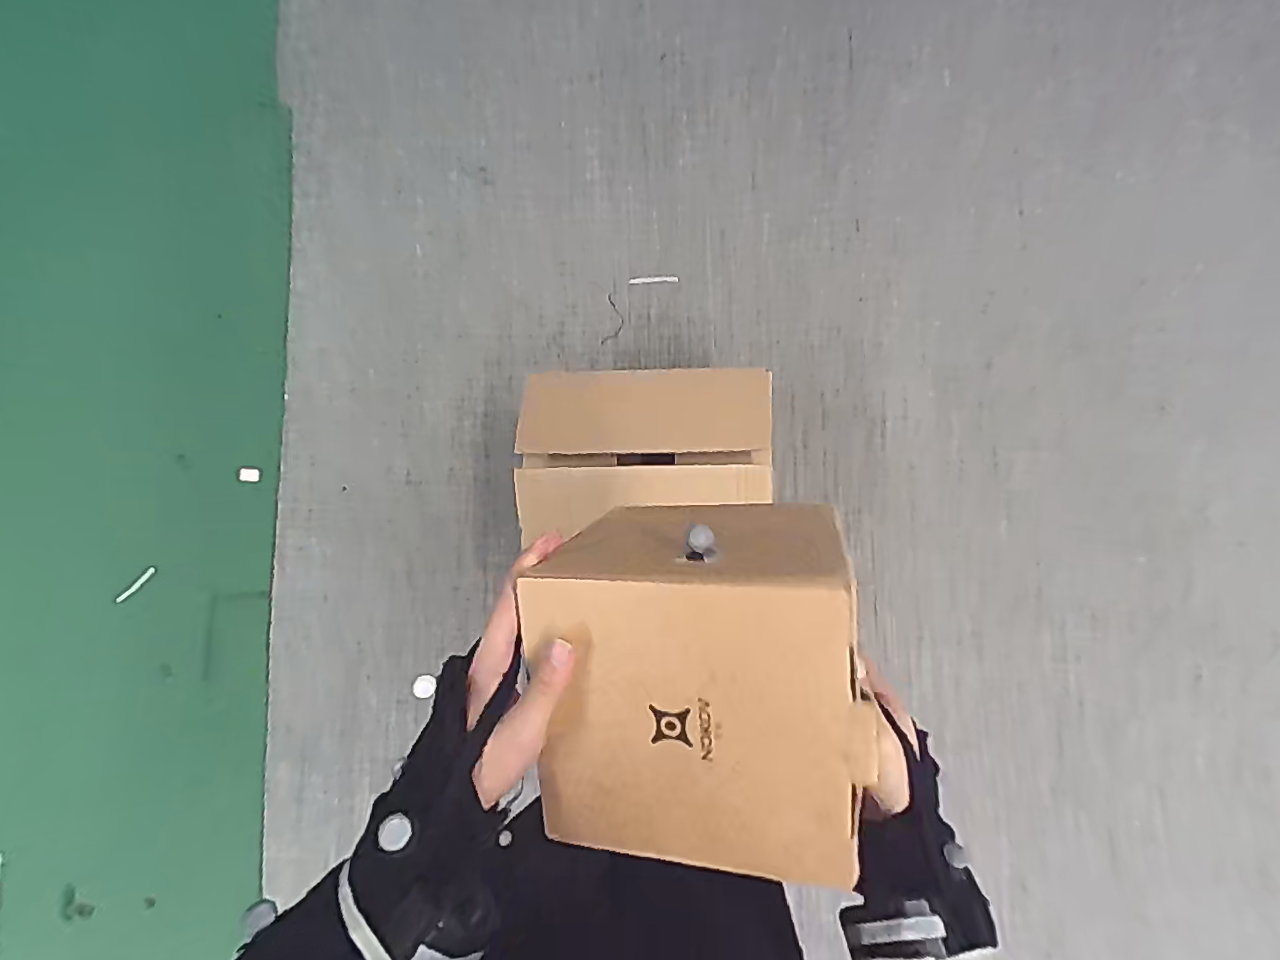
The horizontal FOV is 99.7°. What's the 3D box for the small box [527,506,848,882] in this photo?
[{"bbox_3d":[0.045,0.116,0.371,0.179,0.176,0.168,0,101,18],"label":"small box"}]
